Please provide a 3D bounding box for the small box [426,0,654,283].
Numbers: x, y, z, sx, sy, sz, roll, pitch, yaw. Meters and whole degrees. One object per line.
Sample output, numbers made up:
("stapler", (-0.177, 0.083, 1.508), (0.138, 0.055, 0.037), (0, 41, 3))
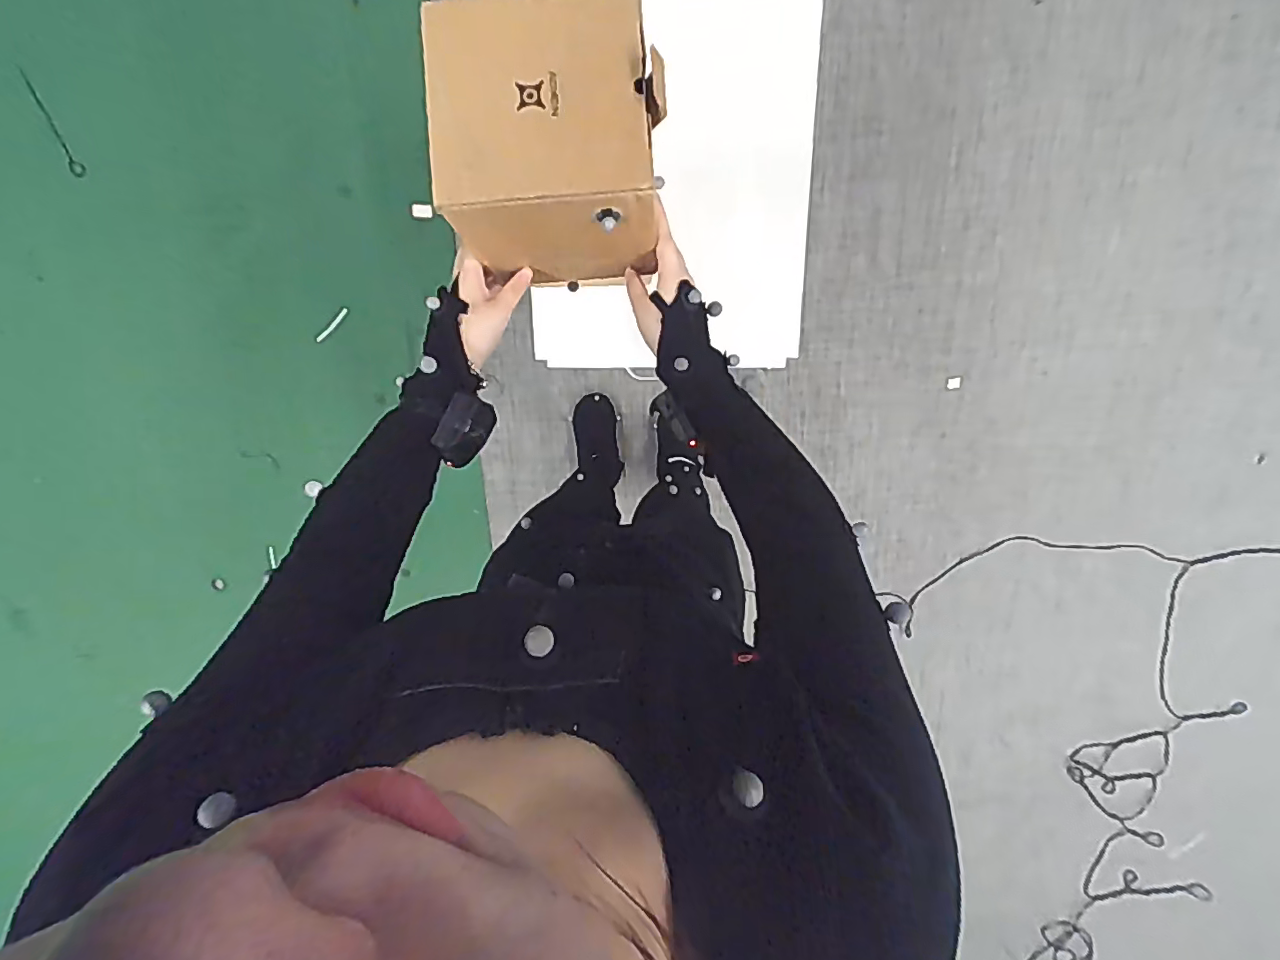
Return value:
("small box", (-0.078, -0.297, 0.504), (0.179, 0.176, 0.168), (-4, 88, 0))
